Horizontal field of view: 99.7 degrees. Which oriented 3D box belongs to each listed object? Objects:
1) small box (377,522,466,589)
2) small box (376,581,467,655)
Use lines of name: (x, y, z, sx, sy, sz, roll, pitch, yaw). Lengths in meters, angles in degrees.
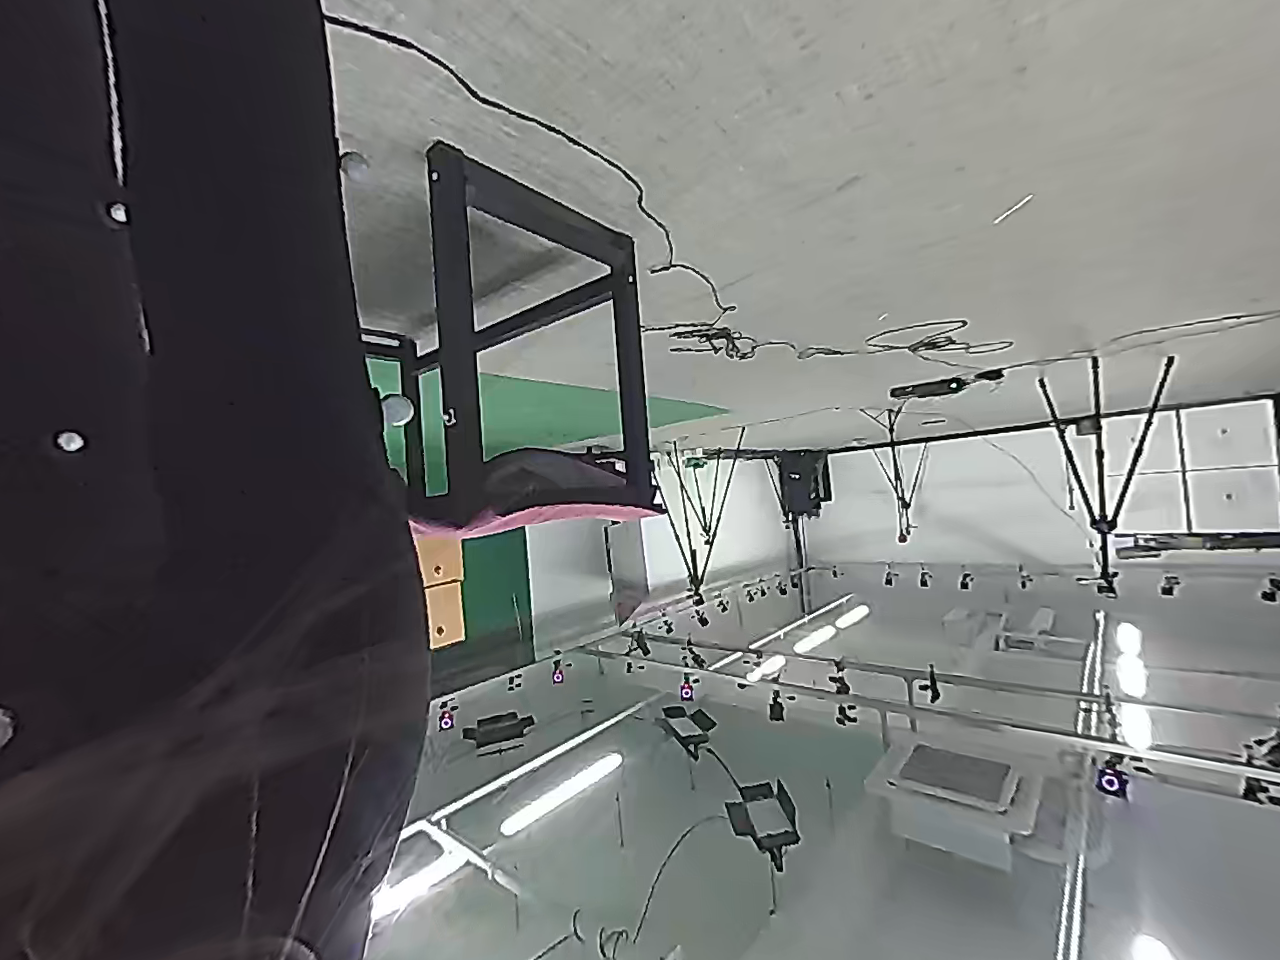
small box: (-0.616, 0.208, 1.523, 0.168, 0.176, 0.179, -7, 176, 35)
small box: (-0.607, 0.371, 1.501, 0.168, 0.176, 0.179, -8, 176, 37)
